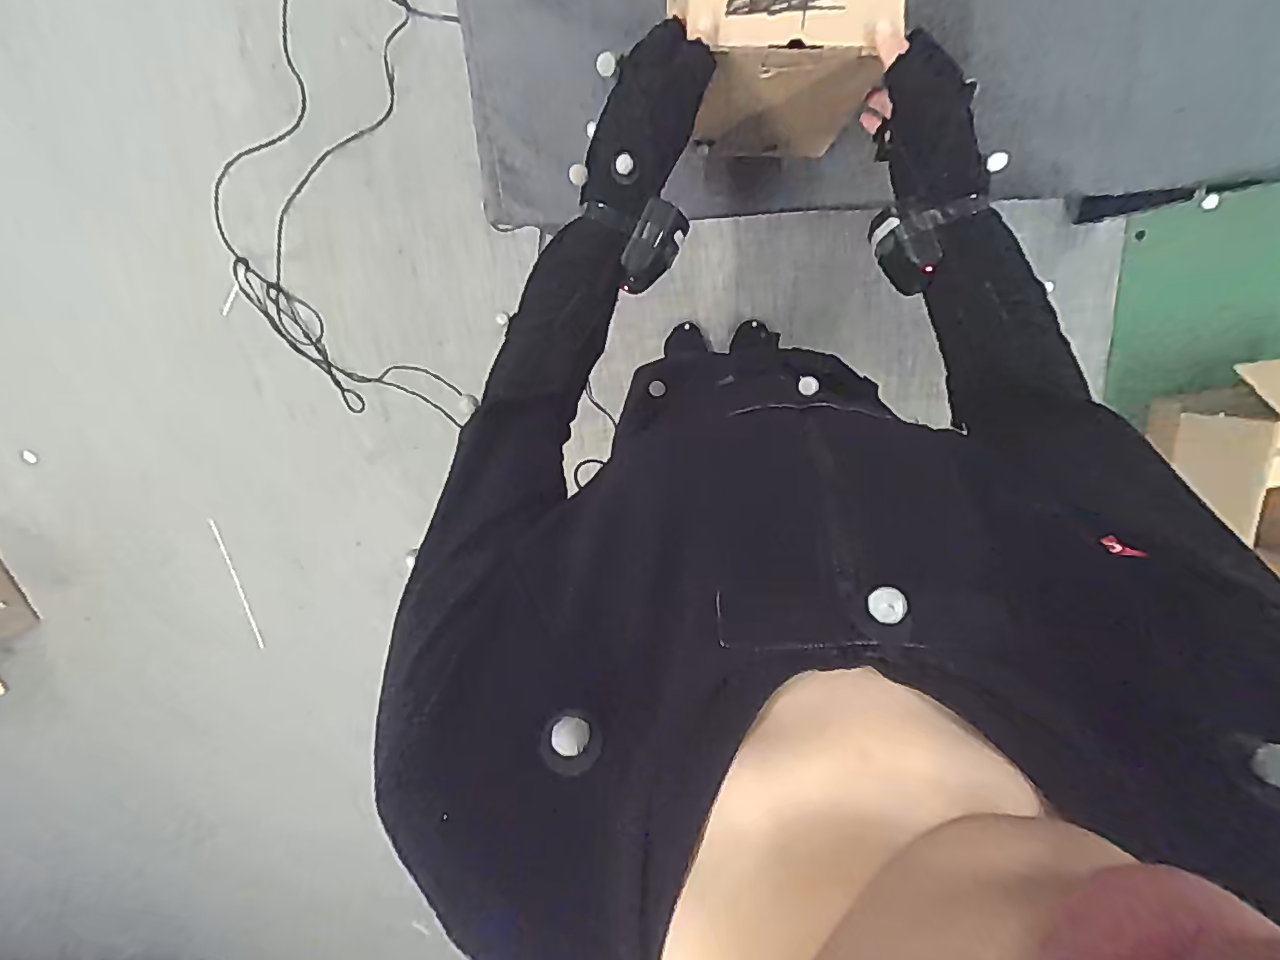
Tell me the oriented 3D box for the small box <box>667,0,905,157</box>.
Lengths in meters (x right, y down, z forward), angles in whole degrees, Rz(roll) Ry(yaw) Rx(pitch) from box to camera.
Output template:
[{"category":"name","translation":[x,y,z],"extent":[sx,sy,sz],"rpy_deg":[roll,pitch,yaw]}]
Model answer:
[{"category":"small box","translation":[0.115,-0.413,0.477],"extent":[0.168,0.176,0.179],"rpy_deg":[-1,96,-3]}]
